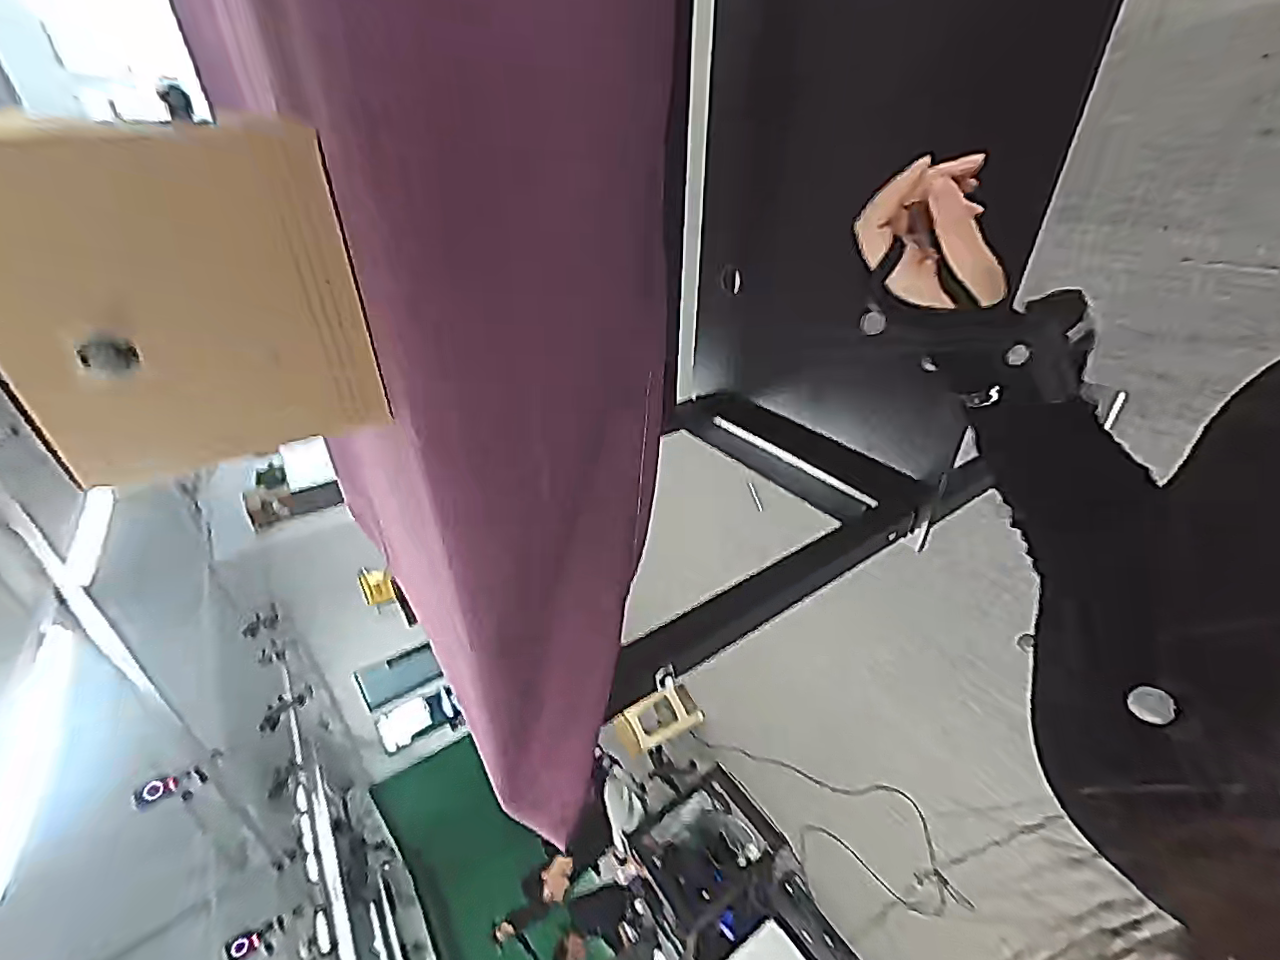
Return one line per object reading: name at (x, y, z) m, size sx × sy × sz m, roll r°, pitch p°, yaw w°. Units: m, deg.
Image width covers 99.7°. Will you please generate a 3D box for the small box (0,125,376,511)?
small box at (-0.287, -0.115, 0.342) m, size 0.168 × 0.176 × 0.179 m, roll 40°, pitch 140°, yaw 41°
